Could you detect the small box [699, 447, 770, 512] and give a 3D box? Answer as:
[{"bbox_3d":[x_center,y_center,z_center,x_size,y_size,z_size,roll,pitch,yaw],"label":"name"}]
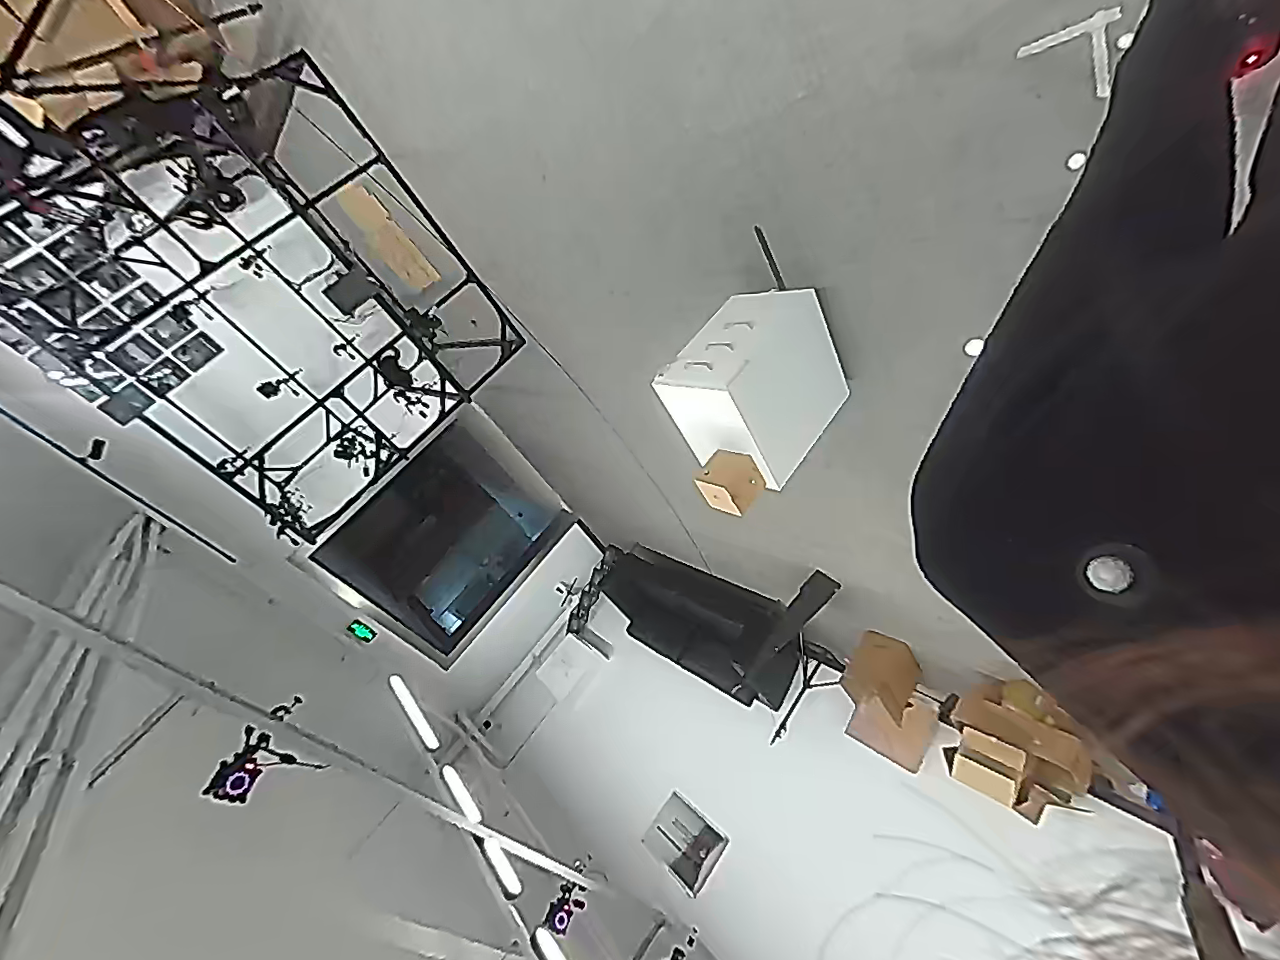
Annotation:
[{"bbox_3d":[0.366,-0.006,2.075,0.179,0.176,0.168,18,151,51],"label":"small box"}]
